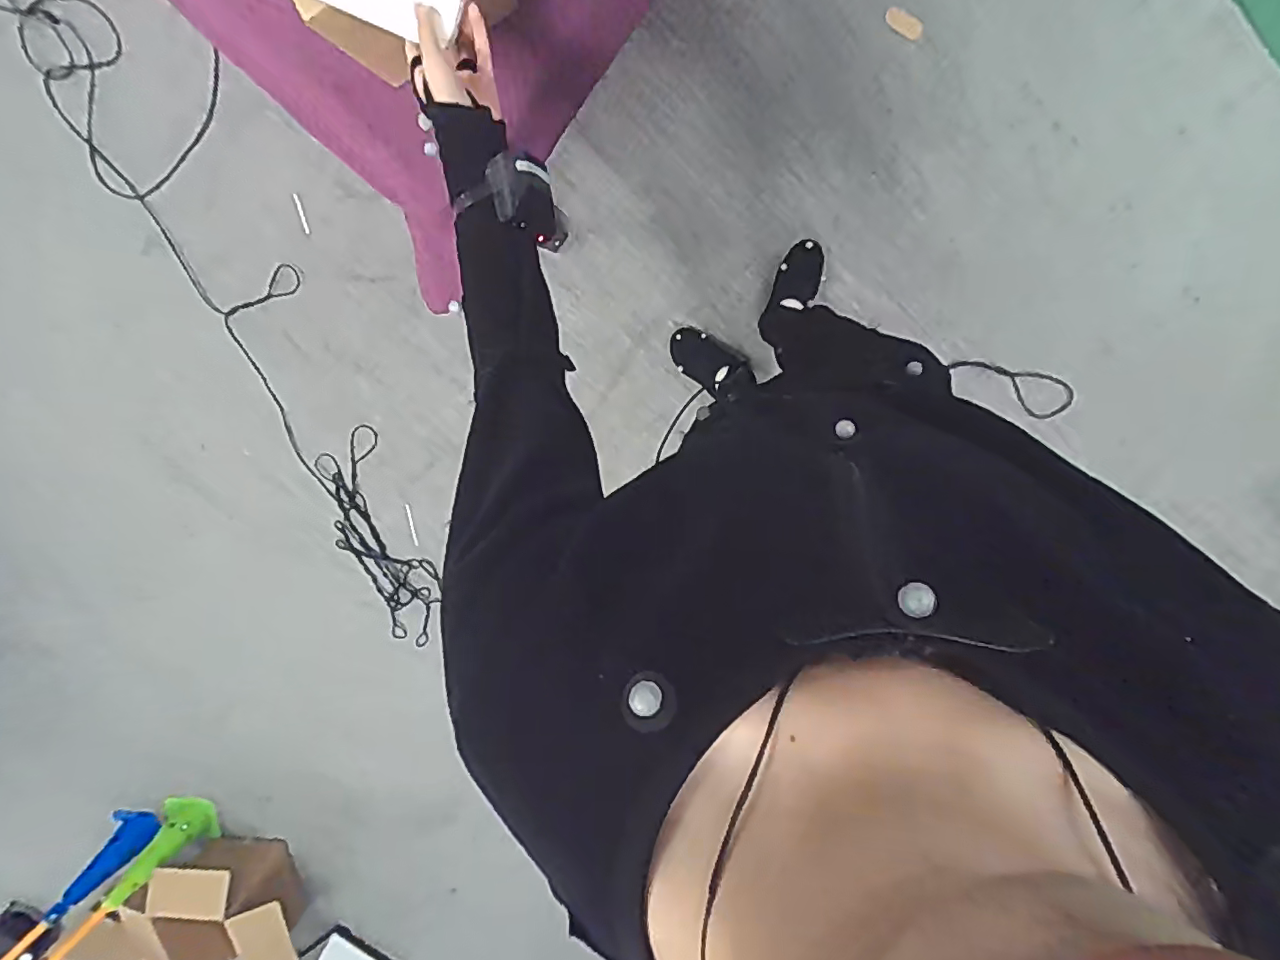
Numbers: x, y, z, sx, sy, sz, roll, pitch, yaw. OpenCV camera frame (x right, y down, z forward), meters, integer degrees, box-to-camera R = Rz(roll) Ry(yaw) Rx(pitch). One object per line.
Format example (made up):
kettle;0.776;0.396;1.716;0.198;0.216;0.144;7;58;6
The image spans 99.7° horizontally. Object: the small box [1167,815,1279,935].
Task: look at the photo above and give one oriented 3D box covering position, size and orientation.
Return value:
small box;1.459;0.970;1.322;0.168;0.176;0.179;-28;105;13
